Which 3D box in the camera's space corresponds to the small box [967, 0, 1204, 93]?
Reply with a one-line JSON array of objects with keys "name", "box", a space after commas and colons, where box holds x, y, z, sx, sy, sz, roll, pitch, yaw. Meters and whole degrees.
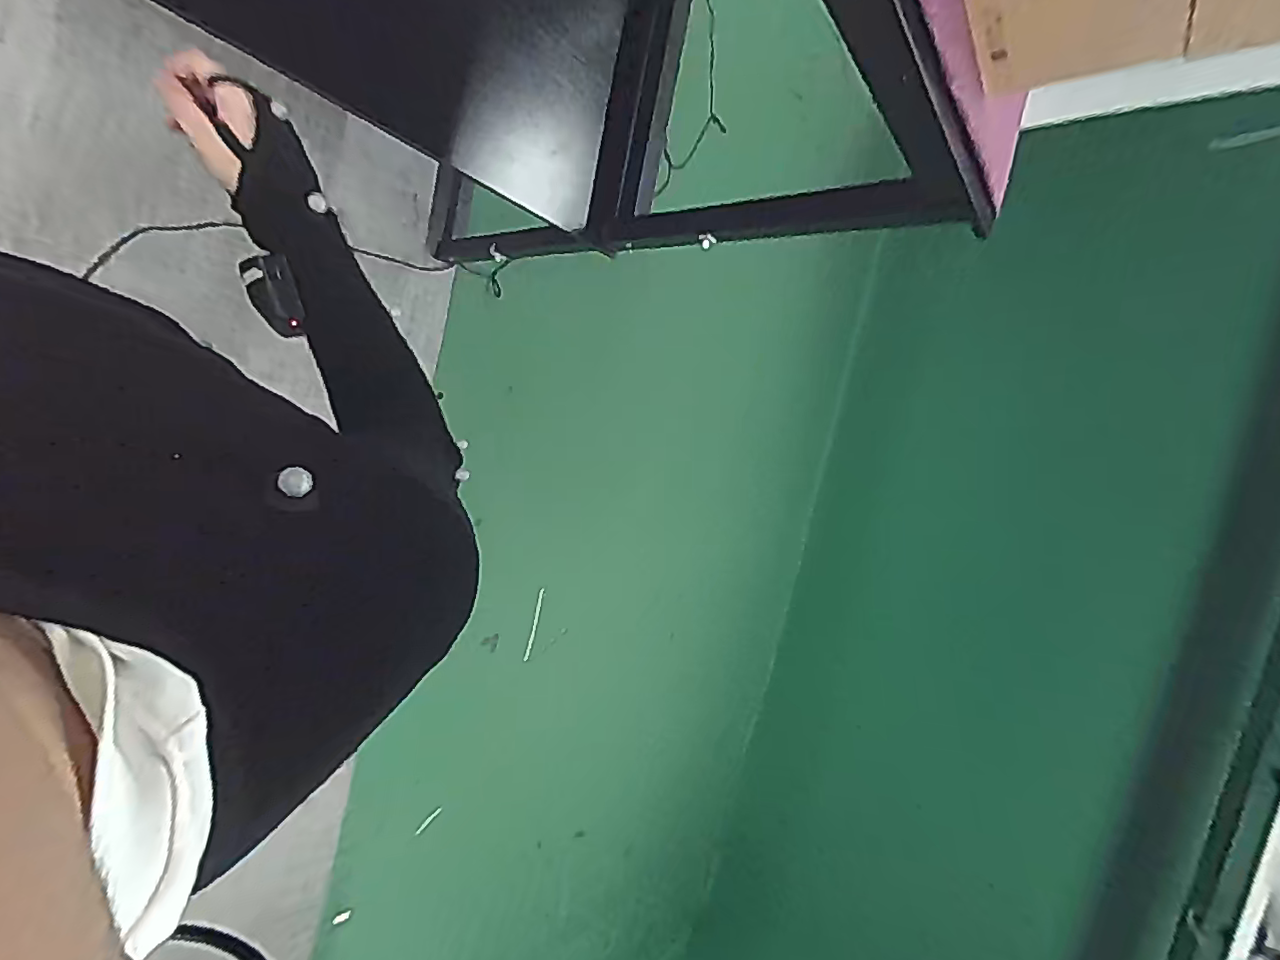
[{"name": "small box", "box": [0.422, -0.510, 0.497, 0.168, 0.176, 0.179, 12, 93, -49]}]
